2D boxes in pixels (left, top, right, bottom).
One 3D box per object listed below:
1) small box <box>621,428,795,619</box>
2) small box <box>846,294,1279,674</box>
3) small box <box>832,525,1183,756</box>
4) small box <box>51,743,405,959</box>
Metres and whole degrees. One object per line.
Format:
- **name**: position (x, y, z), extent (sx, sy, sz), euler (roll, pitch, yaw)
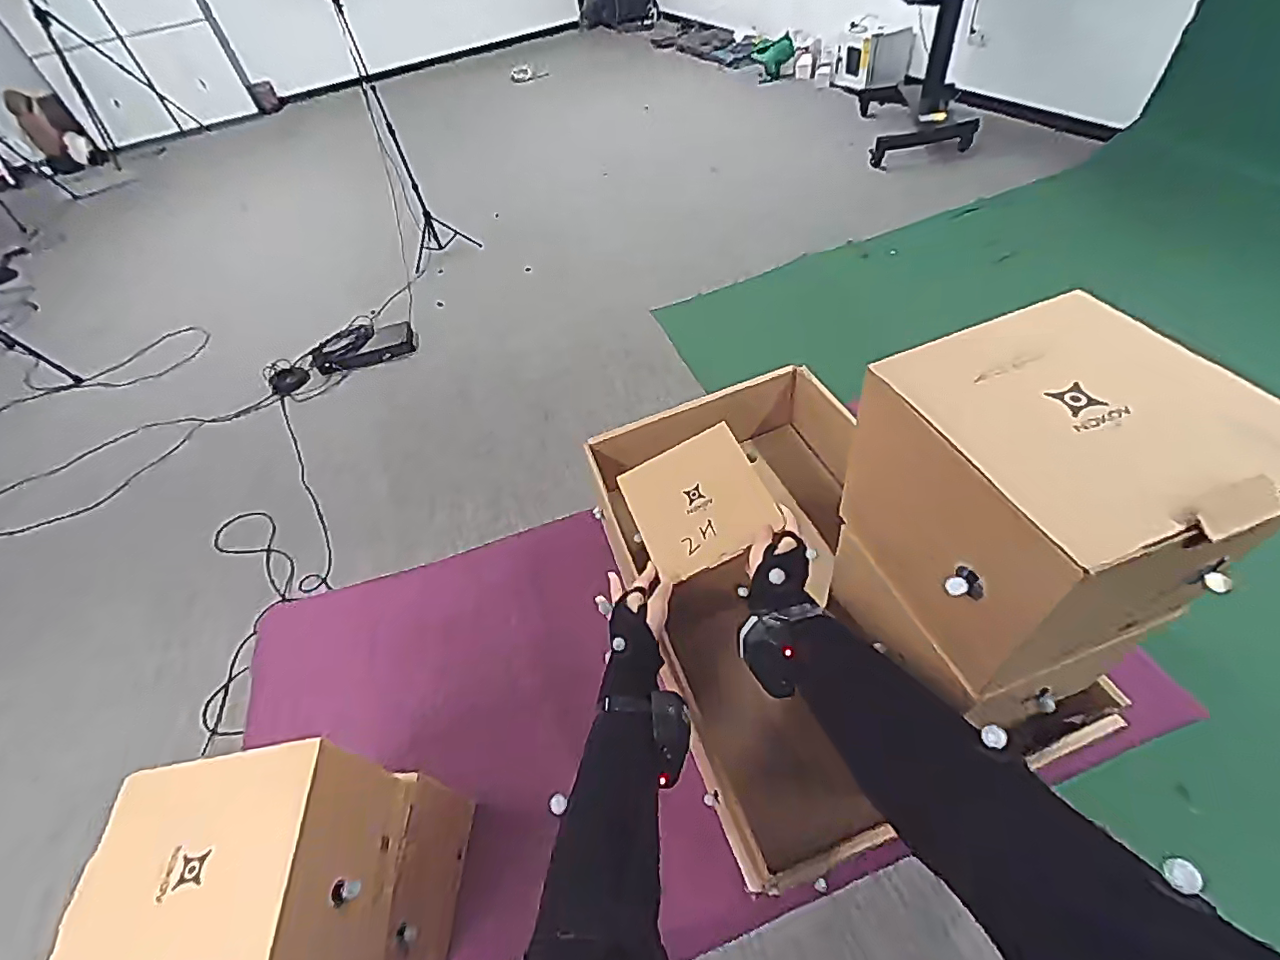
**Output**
- **small box**: position (0.097, 0.067, 0.746), extent (0.168, 0.176, 0.179), euler (-28, 58, 5)
- **small box**: position (0.265, 0.010, 0.369), extent (0.168, 0.176, 0.179), euler (-20, 48, -5)
- **small box**: position (0.295, 0.119, 0.487), extent (0.179, 0.176, 0.168), euler (-21, 49, -4)
- **small box**: position (-0.331, 0.350, 0.470), extent (0.179, 0.176, 0.168), euler (-12, 48, 1)
